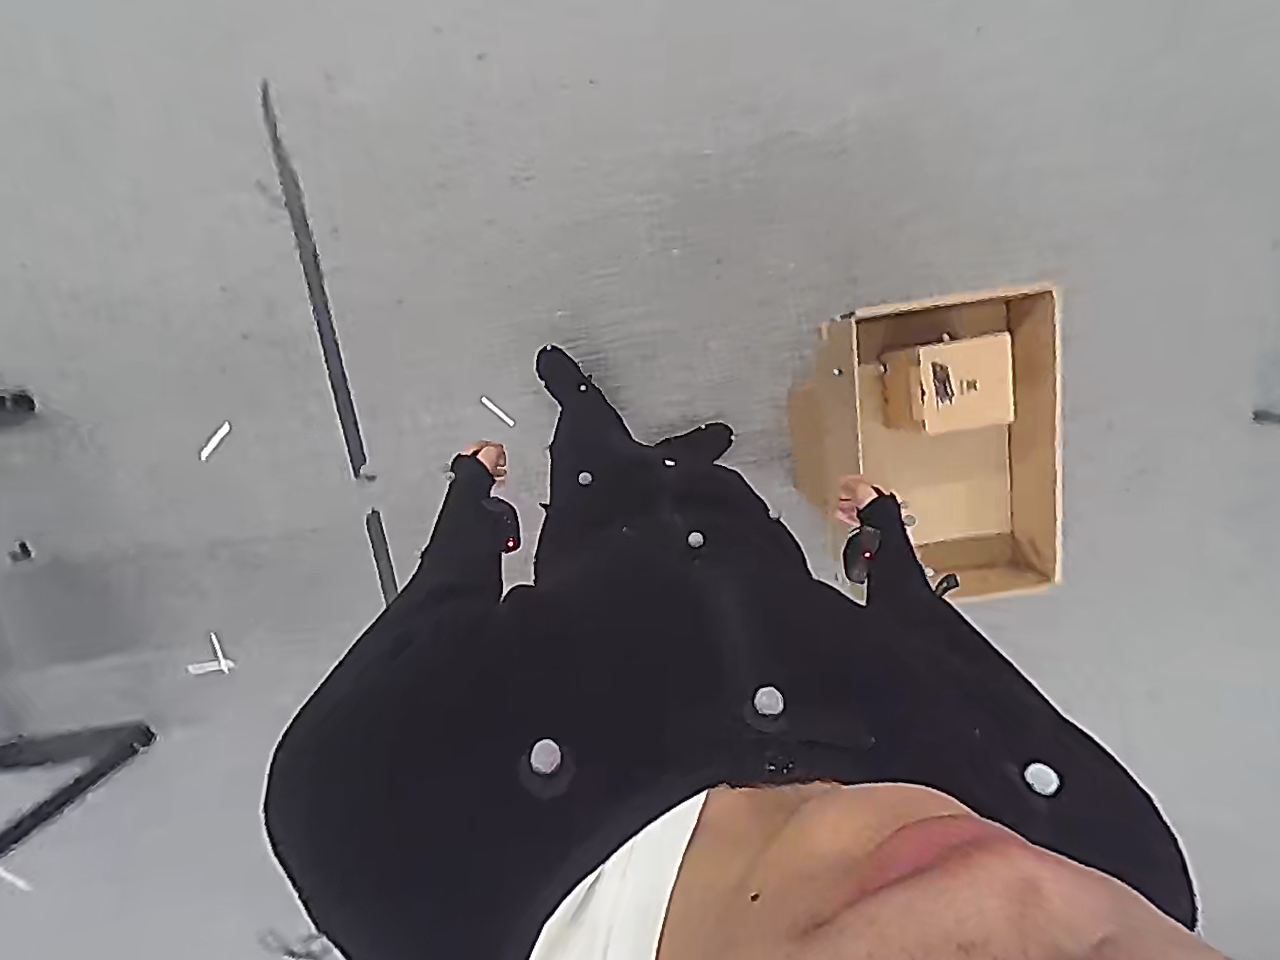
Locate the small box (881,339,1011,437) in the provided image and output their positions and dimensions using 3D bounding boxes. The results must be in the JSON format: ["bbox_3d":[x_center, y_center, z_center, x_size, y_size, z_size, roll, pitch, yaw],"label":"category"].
[{"bbox_3d":[0.605,-0.184,1.091,0.179,0.176,0.168,-9,100,1],"label":"small box"}]
